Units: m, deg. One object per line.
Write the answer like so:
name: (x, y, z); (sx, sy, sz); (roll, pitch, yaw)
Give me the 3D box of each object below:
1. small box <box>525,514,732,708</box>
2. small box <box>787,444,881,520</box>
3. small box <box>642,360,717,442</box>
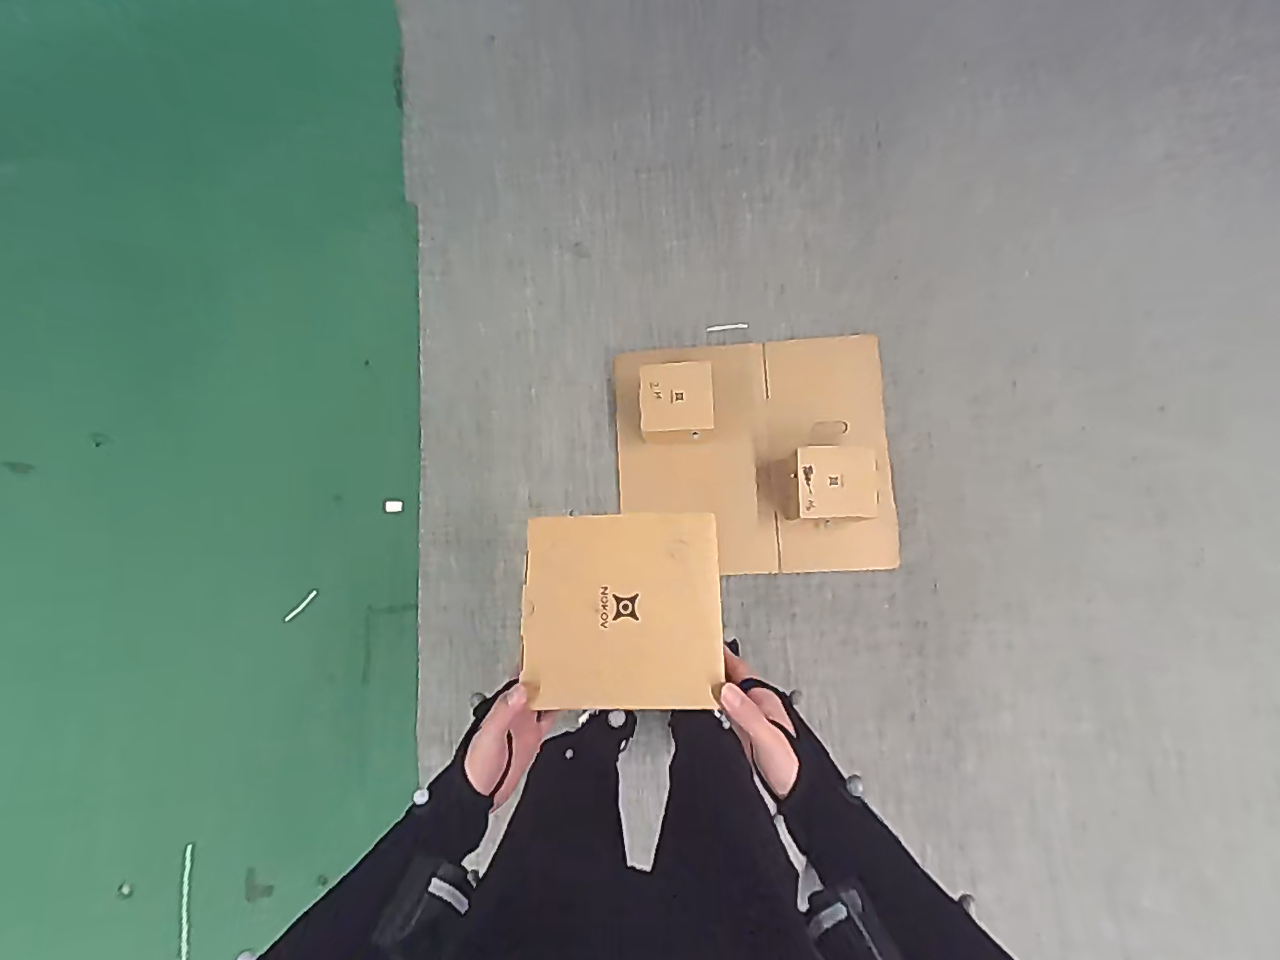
small box: (-0.004, 0.132, 0.548); (0.179, 0.176, 0.168); (-3, 73, 6)
small box: (0.455, 0.009, 1.288); (0.179, 0.176, 0.168); (0, 83, 6)
small box: (0.098, -0.191, 1.346); (0.179, 0.176, 0.168); (-2, 83, 6)
